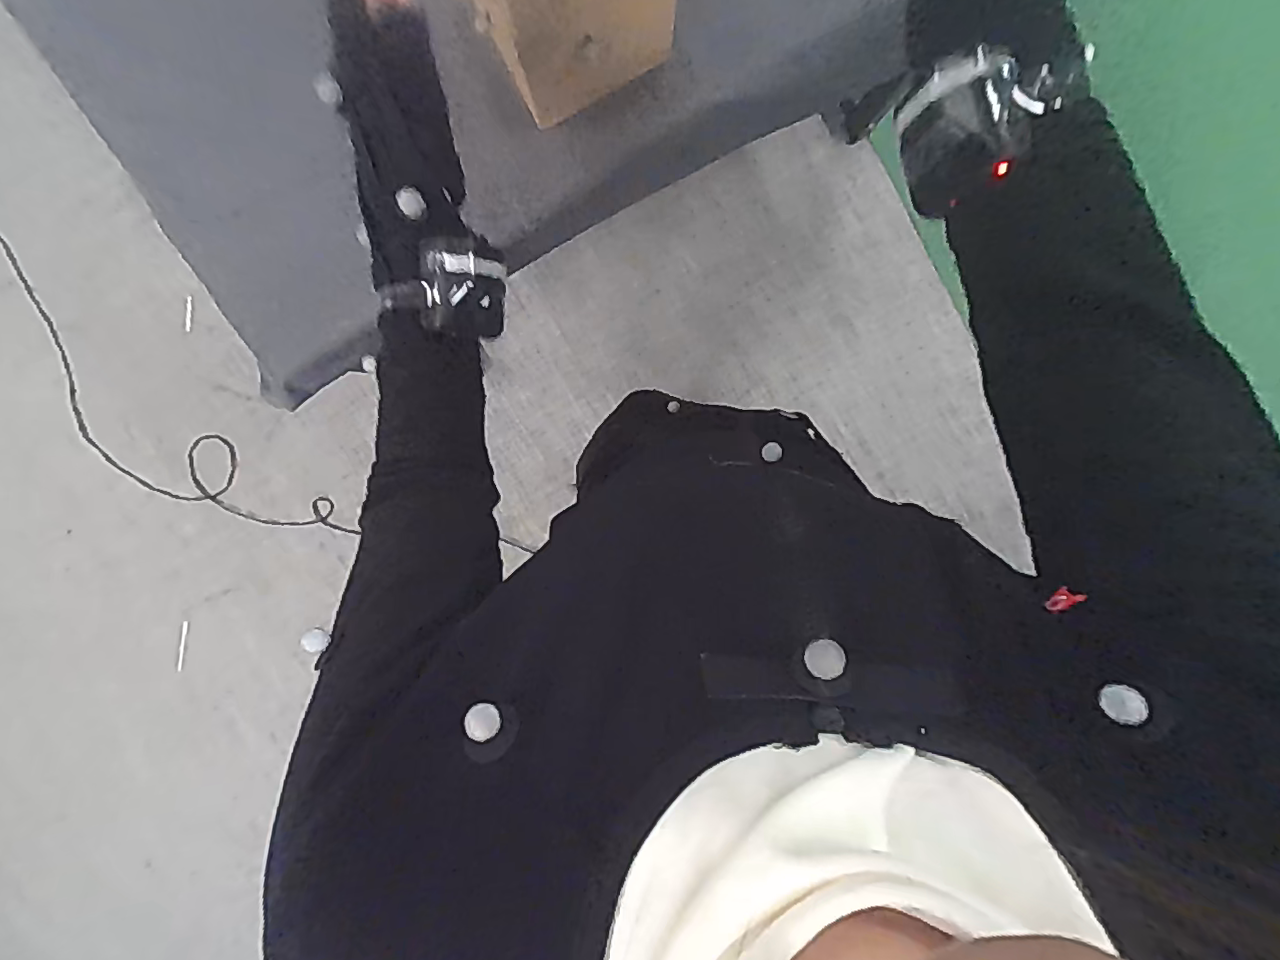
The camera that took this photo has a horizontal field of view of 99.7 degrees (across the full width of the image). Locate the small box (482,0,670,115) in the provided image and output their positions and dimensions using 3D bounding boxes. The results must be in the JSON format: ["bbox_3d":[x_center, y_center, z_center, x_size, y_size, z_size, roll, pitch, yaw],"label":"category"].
[{"bbox_3d":[-0.077,-0.518,0.541,0.179,0.176,0.168,-27,96,5],"label":"small box"}]
